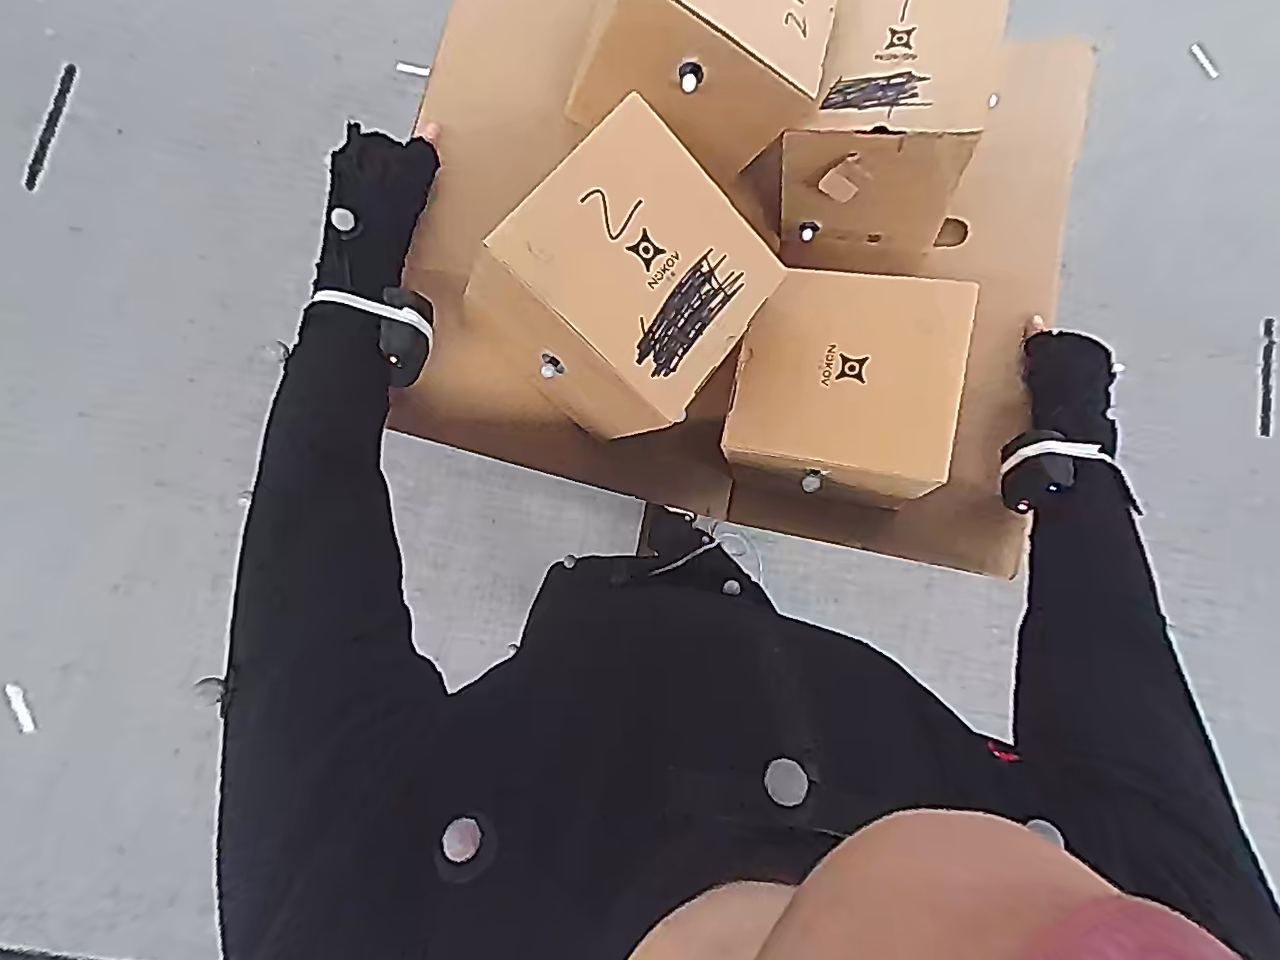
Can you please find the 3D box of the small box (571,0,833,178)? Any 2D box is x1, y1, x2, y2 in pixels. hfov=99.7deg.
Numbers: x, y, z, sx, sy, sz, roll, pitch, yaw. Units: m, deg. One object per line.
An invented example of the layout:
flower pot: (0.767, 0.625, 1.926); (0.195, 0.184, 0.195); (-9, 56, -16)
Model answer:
small box: (0.054, -0.423, 0.499); (0.179, 0.176, 0.168); (18, 83, -24)
